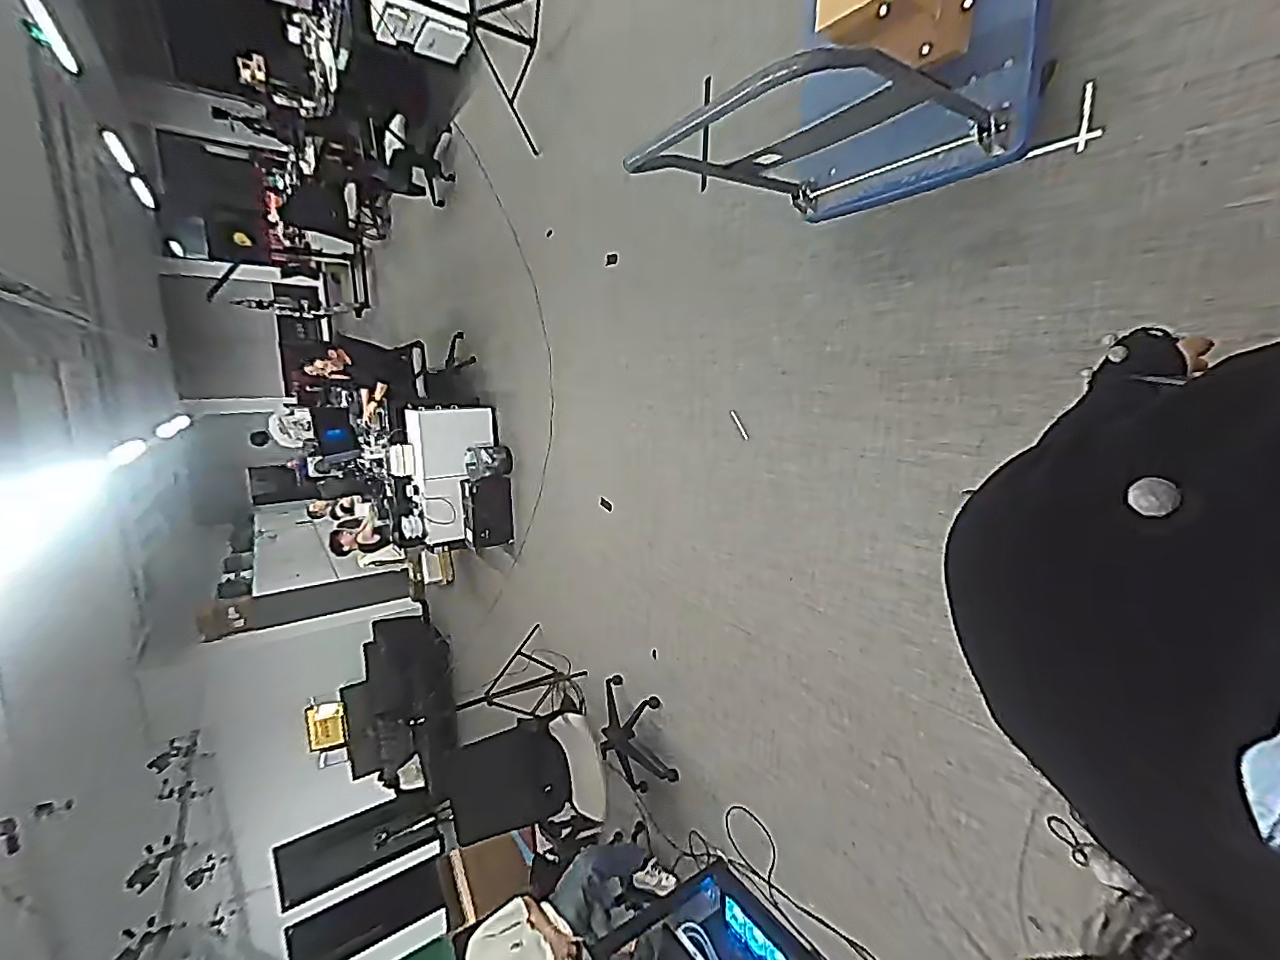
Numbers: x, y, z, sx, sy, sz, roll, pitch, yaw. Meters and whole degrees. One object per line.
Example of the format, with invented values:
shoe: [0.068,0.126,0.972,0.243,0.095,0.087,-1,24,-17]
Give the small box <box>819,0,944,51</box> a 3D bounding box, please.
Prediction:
small box: [0.484,-1.003,1.072,0.179,0.176,0.168,15,109,52]
